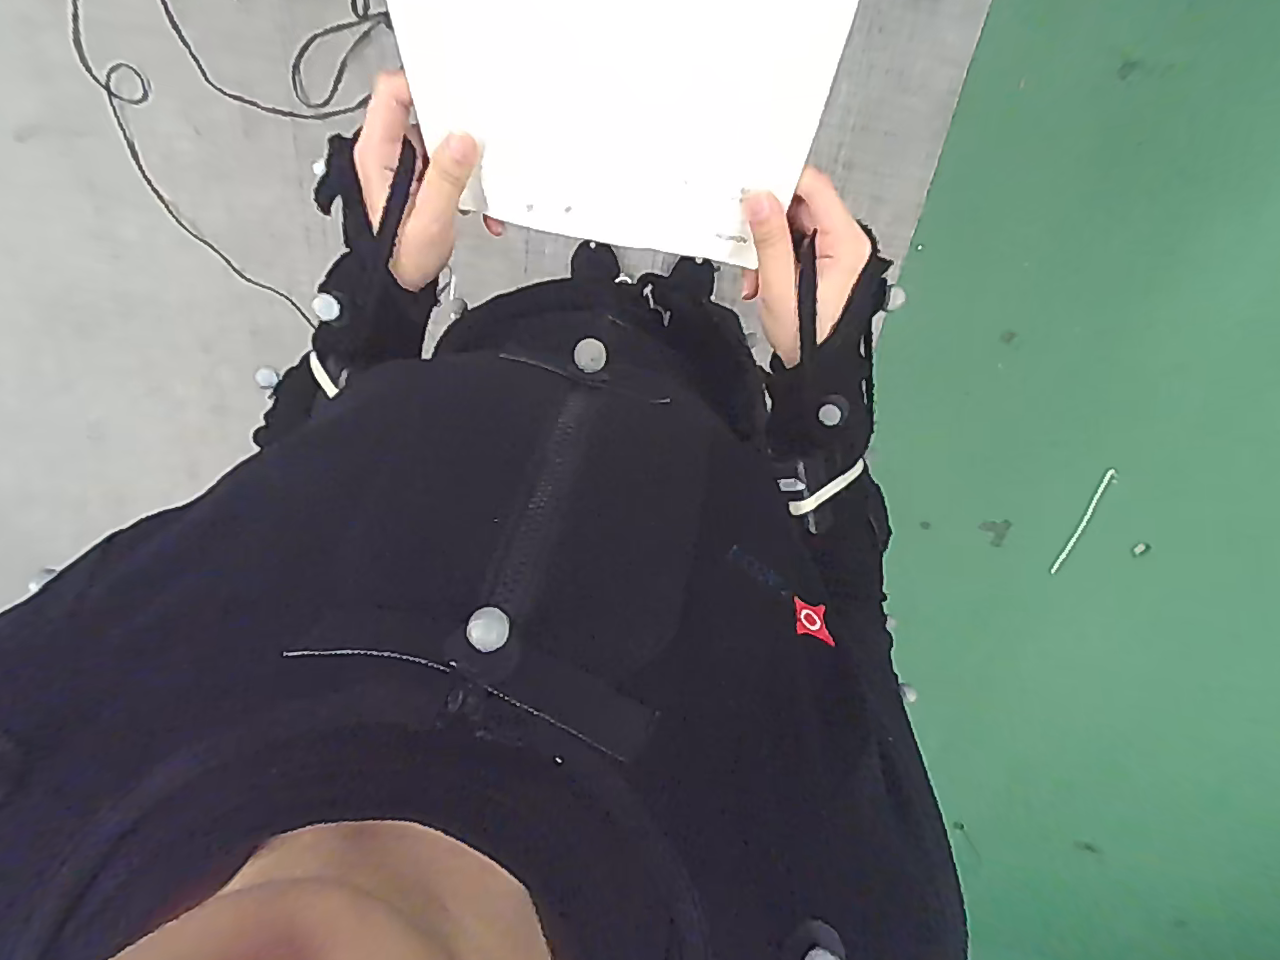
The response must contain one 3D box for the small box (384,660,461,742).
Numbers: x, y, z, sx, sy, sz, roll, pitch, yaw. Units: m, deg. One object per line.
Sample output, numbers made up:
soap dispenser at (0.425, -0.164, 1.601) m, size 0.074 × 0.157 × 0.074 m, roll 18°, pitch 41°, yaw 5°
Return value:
small box at (-0.673, 0.690, 1.700) m, size 0.179 × 0.176 × 0.168 m, roll 7°, pitch 115°, yaw 2°
